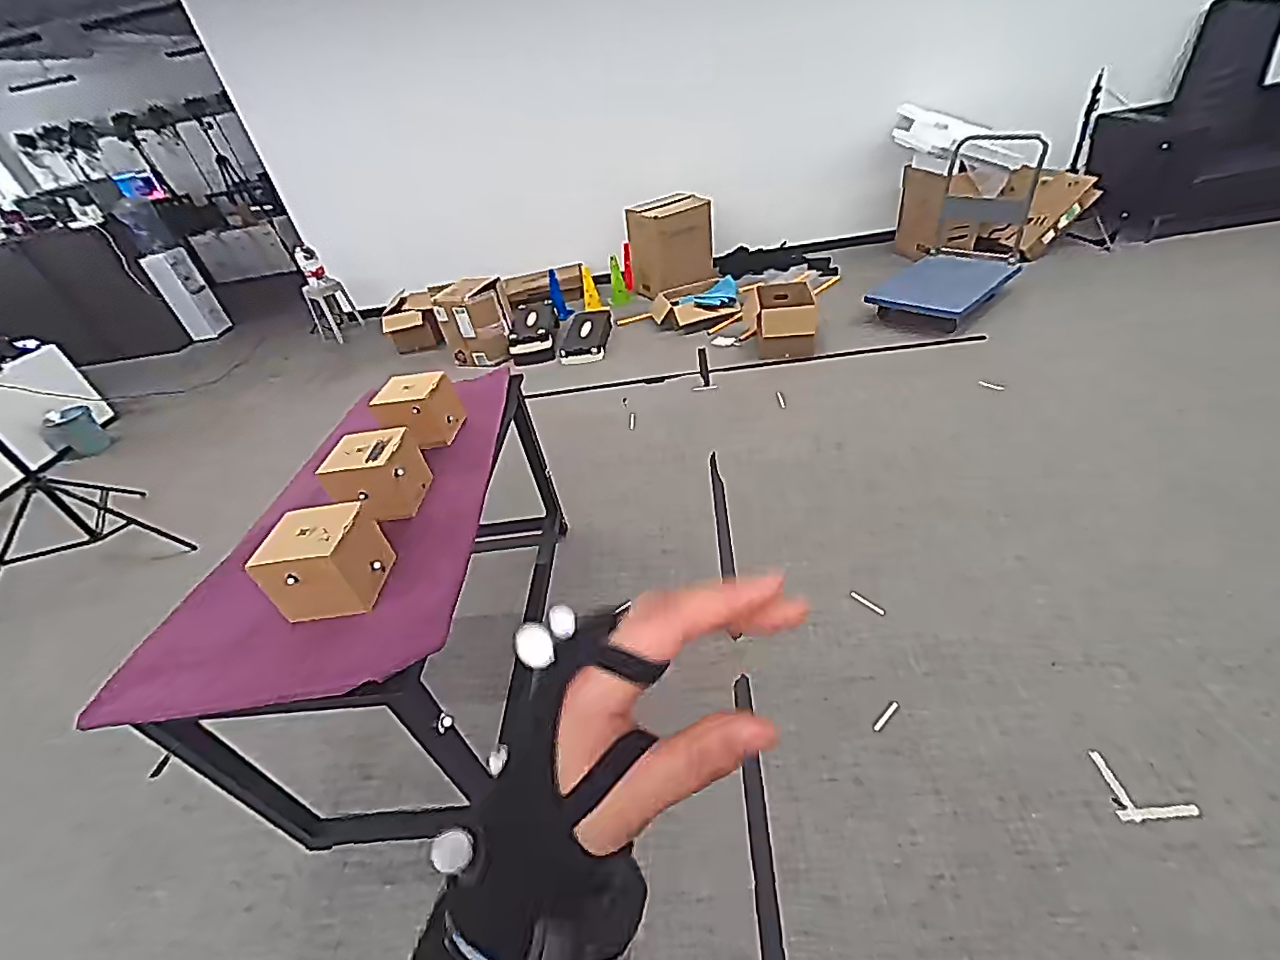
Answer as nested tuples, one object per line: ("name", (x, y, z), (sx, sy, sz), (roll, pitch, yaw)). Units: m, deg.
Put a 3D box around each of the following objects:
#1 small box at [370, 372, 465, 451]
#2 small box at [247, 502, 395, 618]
("small box", (-0.649, -0.199, 1.599), (0.179, 0.176, 0.168), (-5, 38, 9))
("small box", (-0.648, 0.169, 1.122), (0.179, 0.176, 0.168), (-8, 37, 4))
